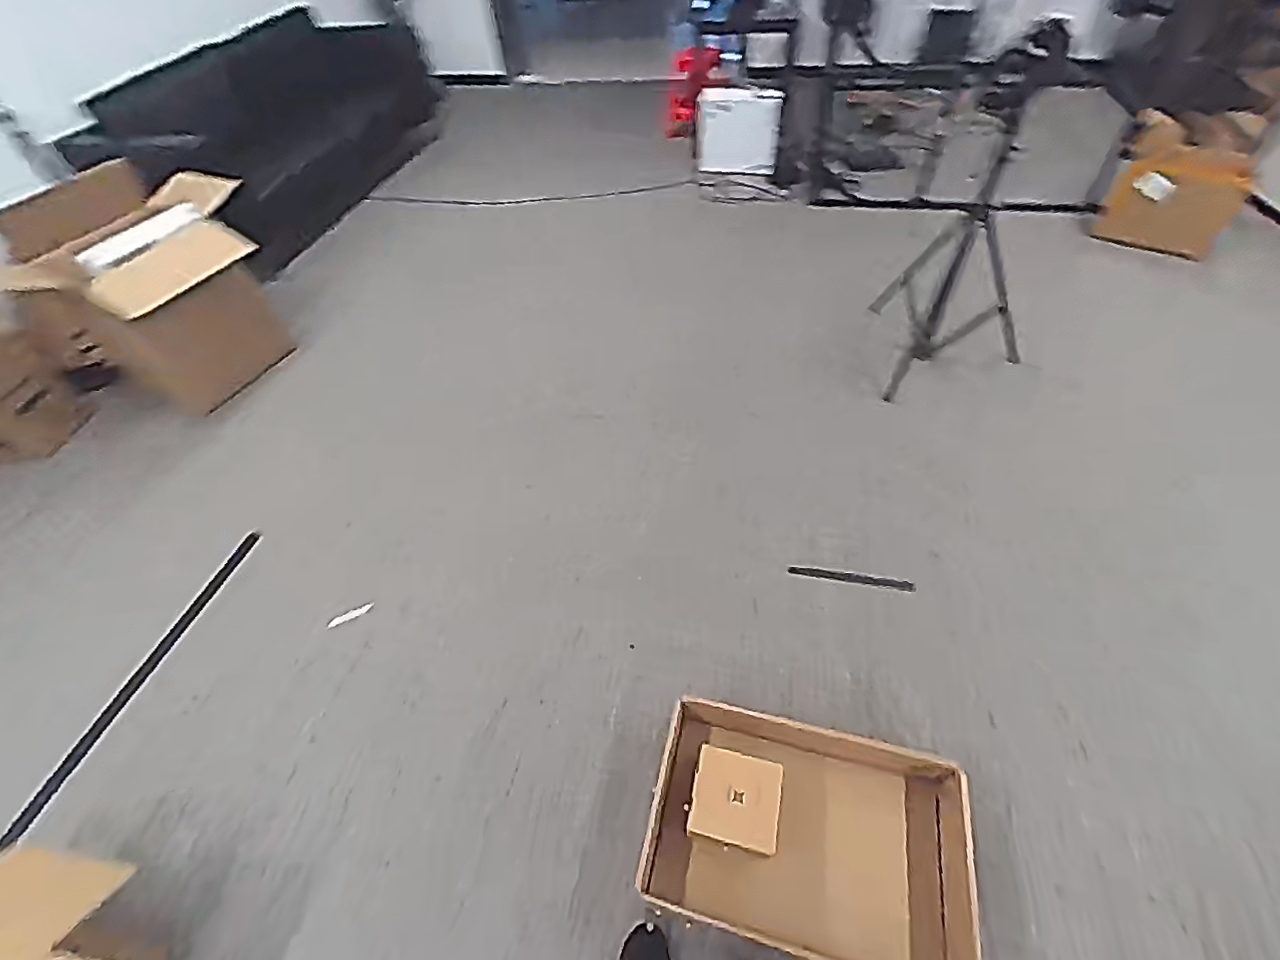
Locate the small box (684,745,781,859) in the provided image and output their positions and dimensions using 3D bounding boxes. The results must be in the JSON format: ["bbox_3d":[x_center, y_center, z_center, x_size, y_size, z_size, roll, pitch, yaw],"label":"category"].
[{"bbox_3d":[0.196,0.699,1.167,0.179,0.176,0.168,10,54,11],"label":"small box"}]
